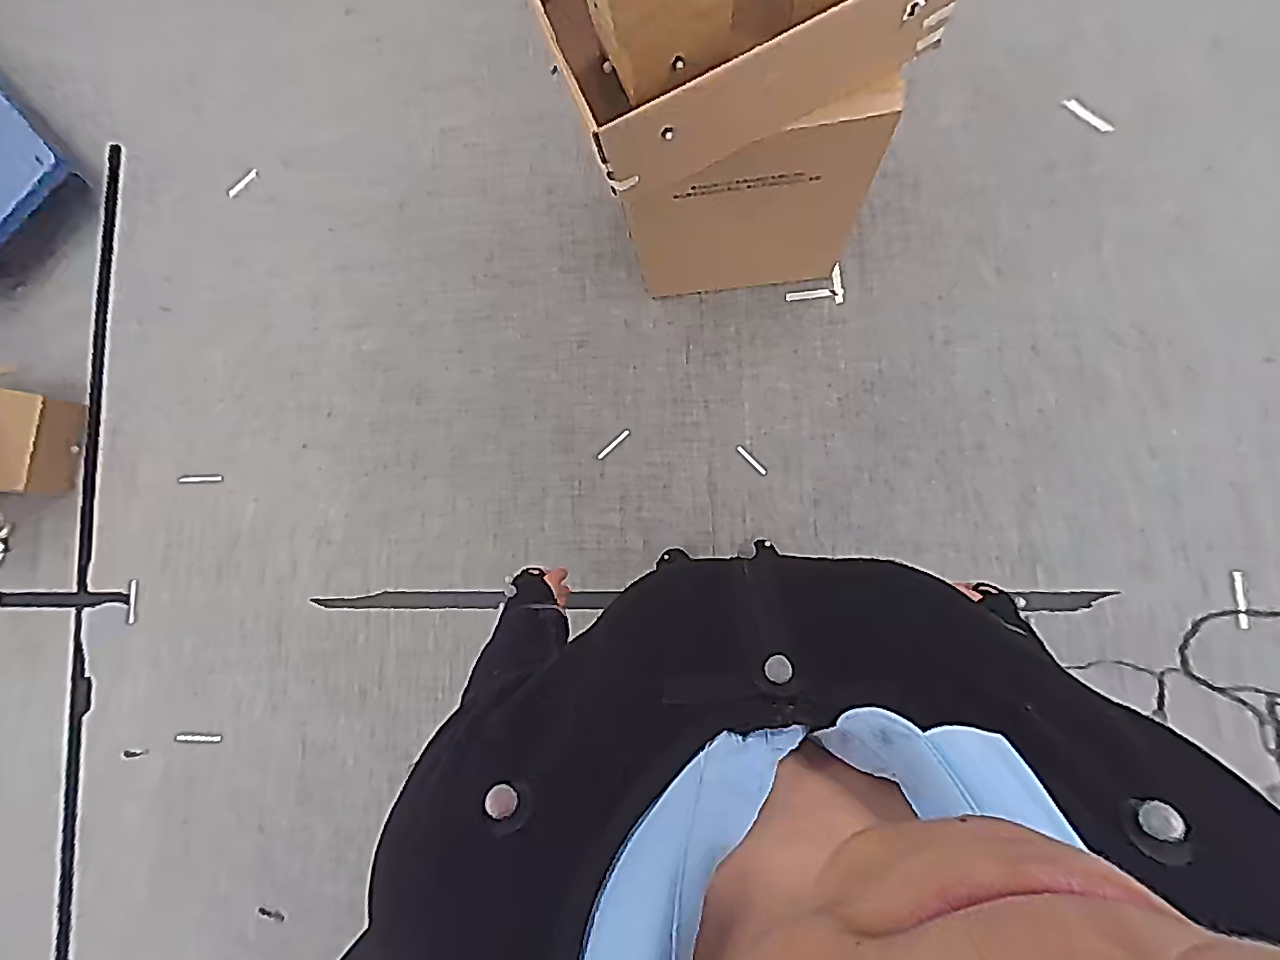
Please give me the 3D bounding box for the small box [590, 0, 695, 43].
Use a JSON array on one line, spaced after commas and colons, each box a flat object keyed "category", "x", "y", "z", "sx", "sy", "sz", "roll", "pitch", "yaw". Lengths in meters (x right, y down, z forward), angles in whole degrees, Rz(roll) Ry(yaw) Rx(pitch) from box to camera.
[{"category": "small box", "x": -0.003, "y": -0.741, "z": 0.705, "sx": 0.179, "sy": 0.176, "sz": 0.168, "roll": -28, "pitch": 82, "yaw": 5}]
